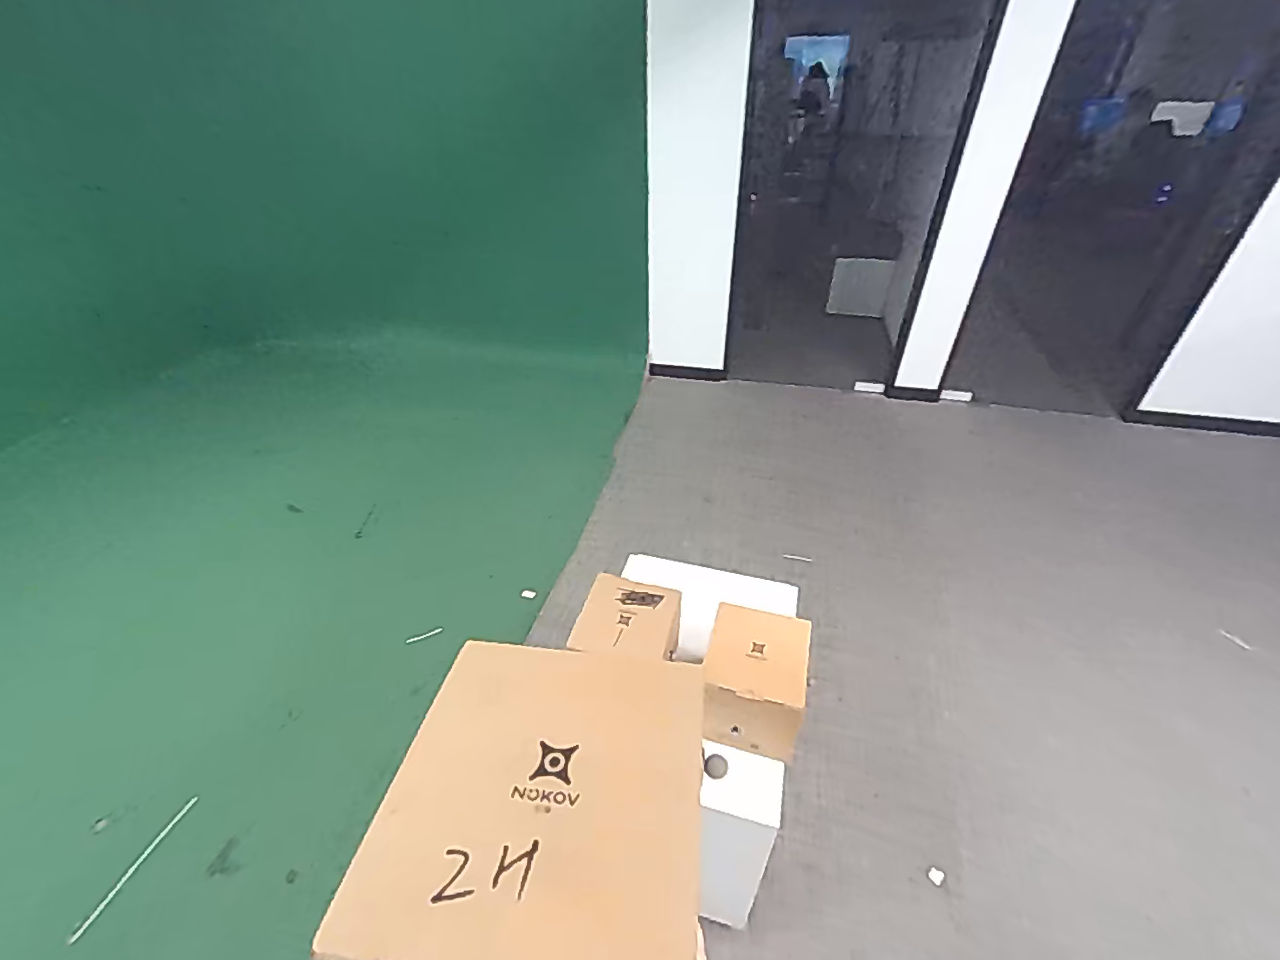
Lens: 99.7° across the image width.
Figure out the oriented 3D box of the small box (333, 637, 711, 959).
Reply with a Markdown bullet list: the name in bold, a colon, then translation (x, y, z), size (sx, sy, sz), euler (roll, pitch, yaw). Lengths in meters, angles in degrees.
- **small box**: translation (-0.046, 0.230, 0.341), size (0.168, 0.176, 0.179), euler (4, 32, 7)

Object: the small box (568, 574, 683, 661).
- **small box**: translation (-0.022, 0.308, 1.003), size (0.168, 0.176, 0.179), euler (10, 39, 13)

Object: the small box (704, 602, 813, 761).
- **small box**: translation (0.198, 0.349, 0.945), size (0.168, 0.176, 0.179), euler (10, 39, 15)
